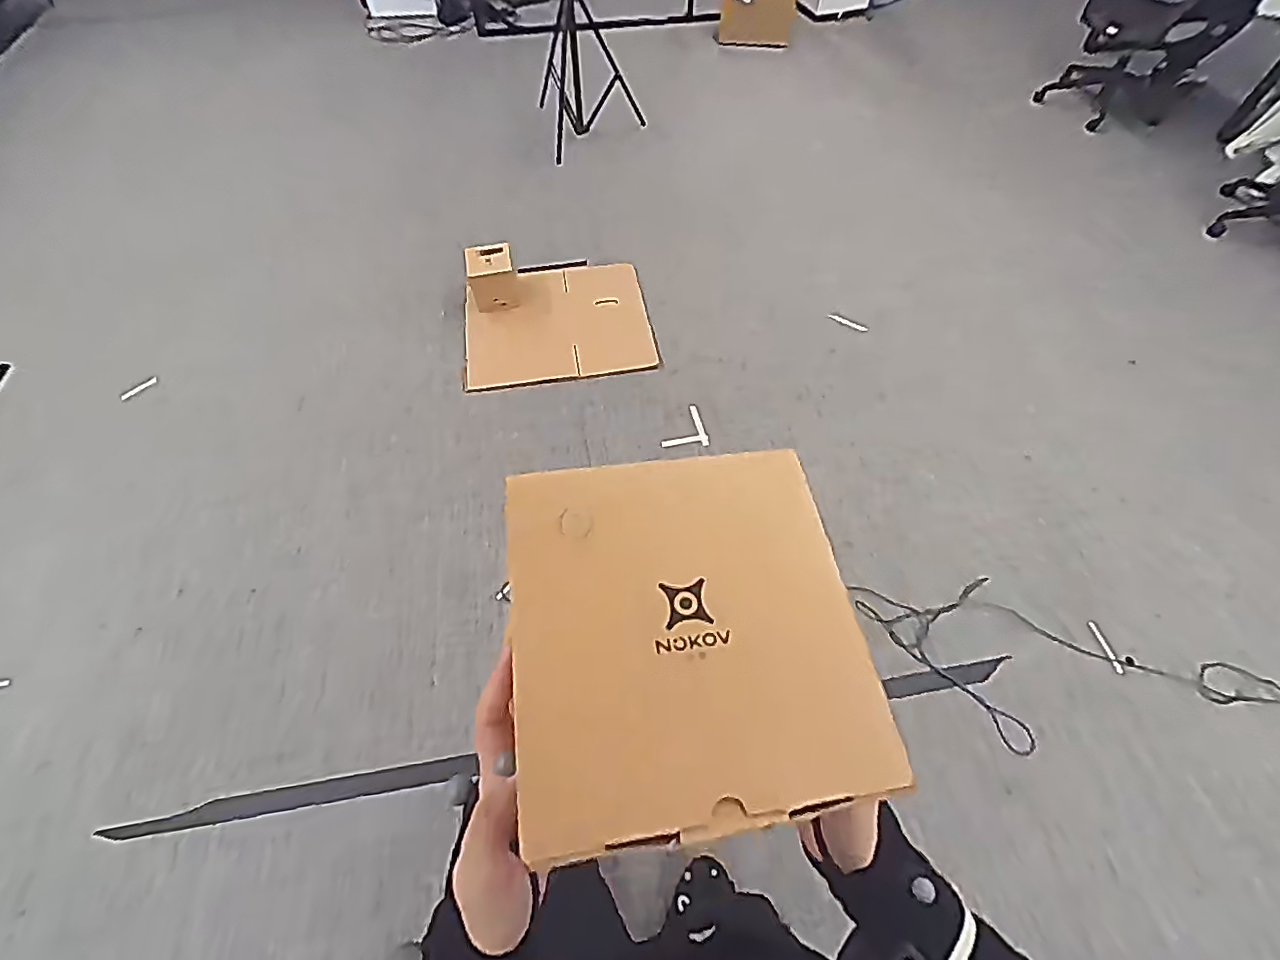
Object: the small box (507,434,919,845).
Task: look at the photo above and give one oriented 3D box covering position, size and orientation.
[{"bbox_3d":[0.015,0.095,0.319,0.168,0.176,0.179,-6,60,-9],"label":"small box"}]
